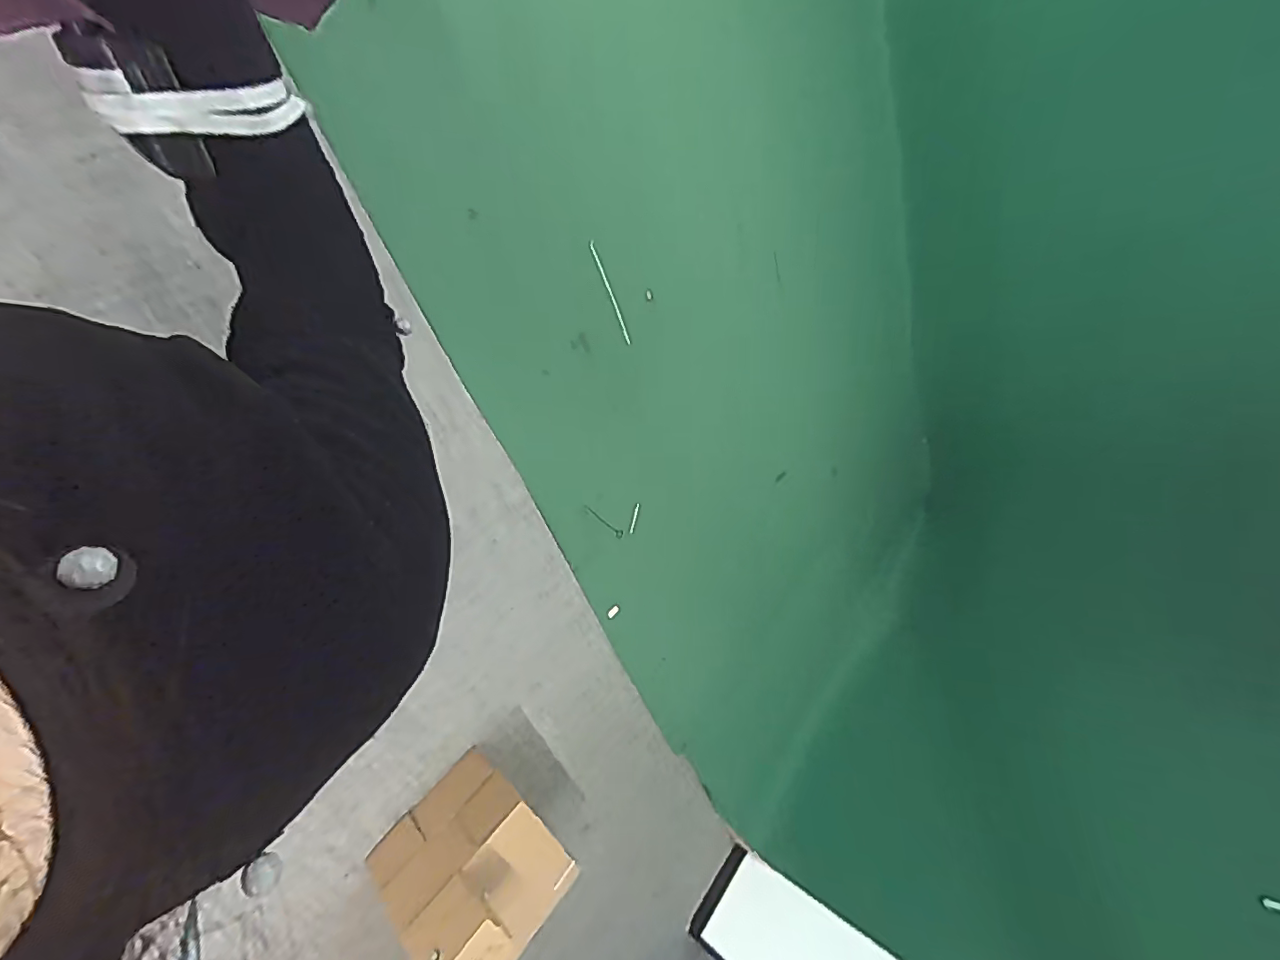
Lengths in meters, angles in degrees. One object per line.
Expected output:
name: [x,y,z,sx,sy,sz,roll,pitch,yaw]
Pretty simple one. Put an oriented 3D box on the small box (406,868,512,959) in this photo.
small box: [-0.464,1.146,1.367,0.179,0.176,0.168,-41,124,-30]
